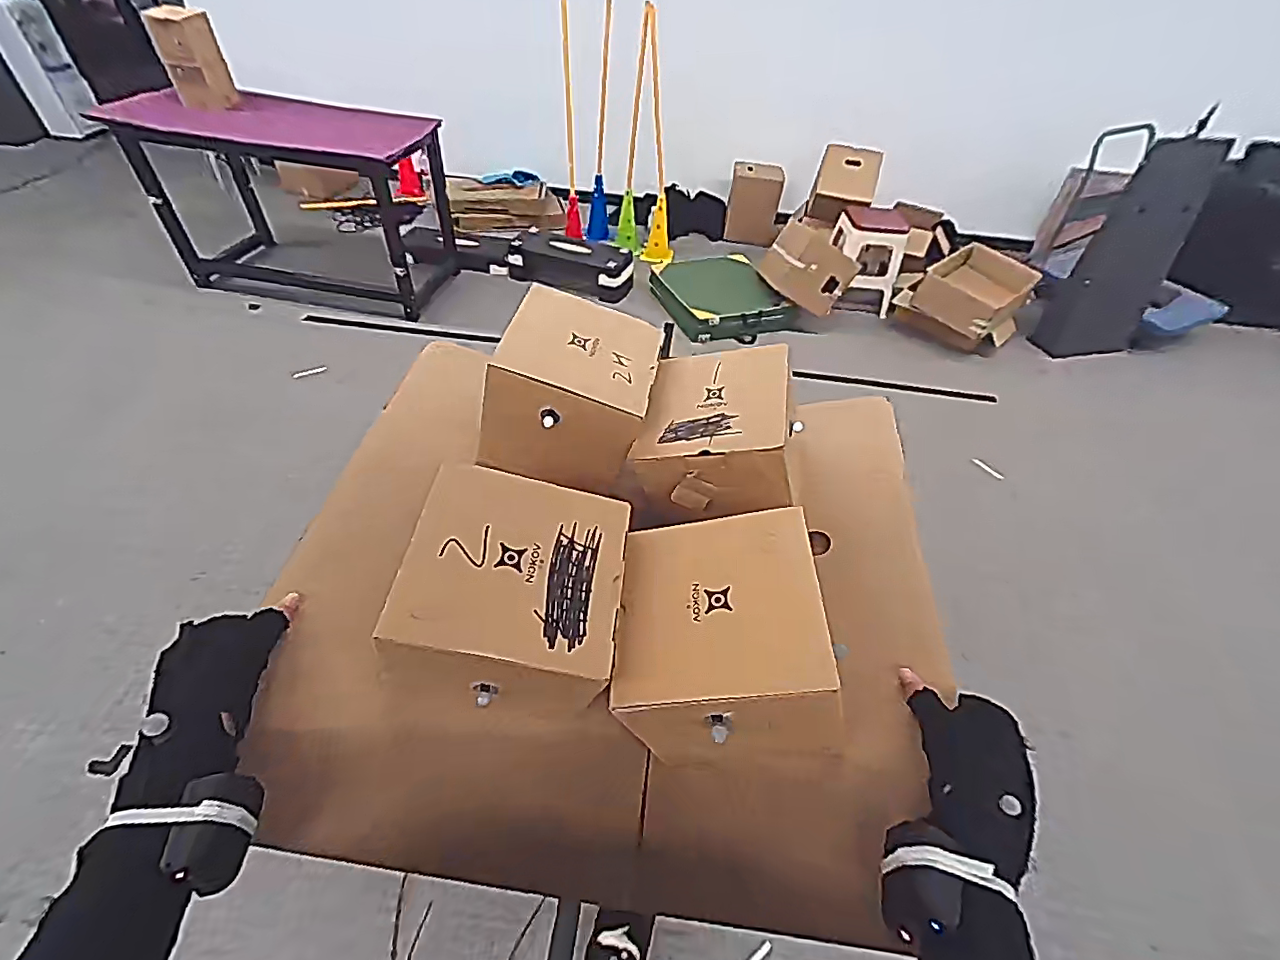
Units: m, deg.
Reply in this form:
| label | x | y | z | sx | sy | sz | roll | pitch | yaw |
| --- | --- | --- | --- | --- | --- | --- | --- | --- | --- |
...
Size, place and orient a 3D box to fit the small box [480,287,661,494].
| label | x | y | z | sx | sy | sz | roll | pitch | yaw |
| --- | --- | --- | --- | --- | --- | --- | --- | --- | --- |
| small box | -0.092 | -0.106 | 0.689 | 0.179 | 0.176 | 0.168 | 19 | 50 | -7 |
